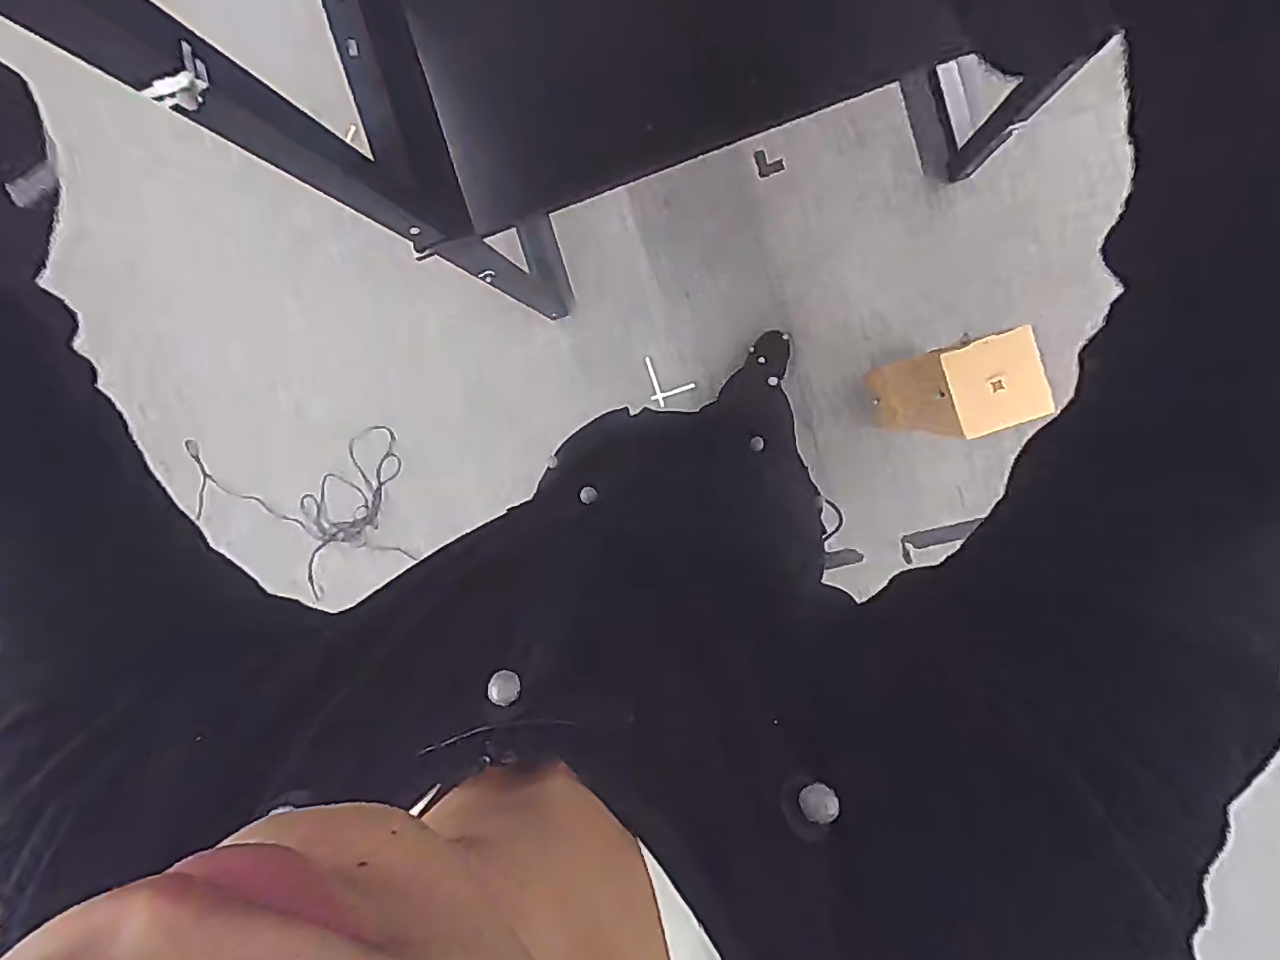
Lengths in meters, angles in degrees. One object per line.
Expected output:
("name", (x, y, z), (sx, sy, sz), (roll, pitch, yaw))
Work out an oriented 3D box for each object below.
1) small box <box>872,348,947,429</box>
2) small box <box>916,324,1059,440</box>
("small box", (0.732, -0.238, 1.408), (0.179, 0.176, 0.168), (-18, 94, 11))
("small box", (0.687, -0.193, 1.087), (0.168, 0.176, 0.179), (-19, 94, 11))
